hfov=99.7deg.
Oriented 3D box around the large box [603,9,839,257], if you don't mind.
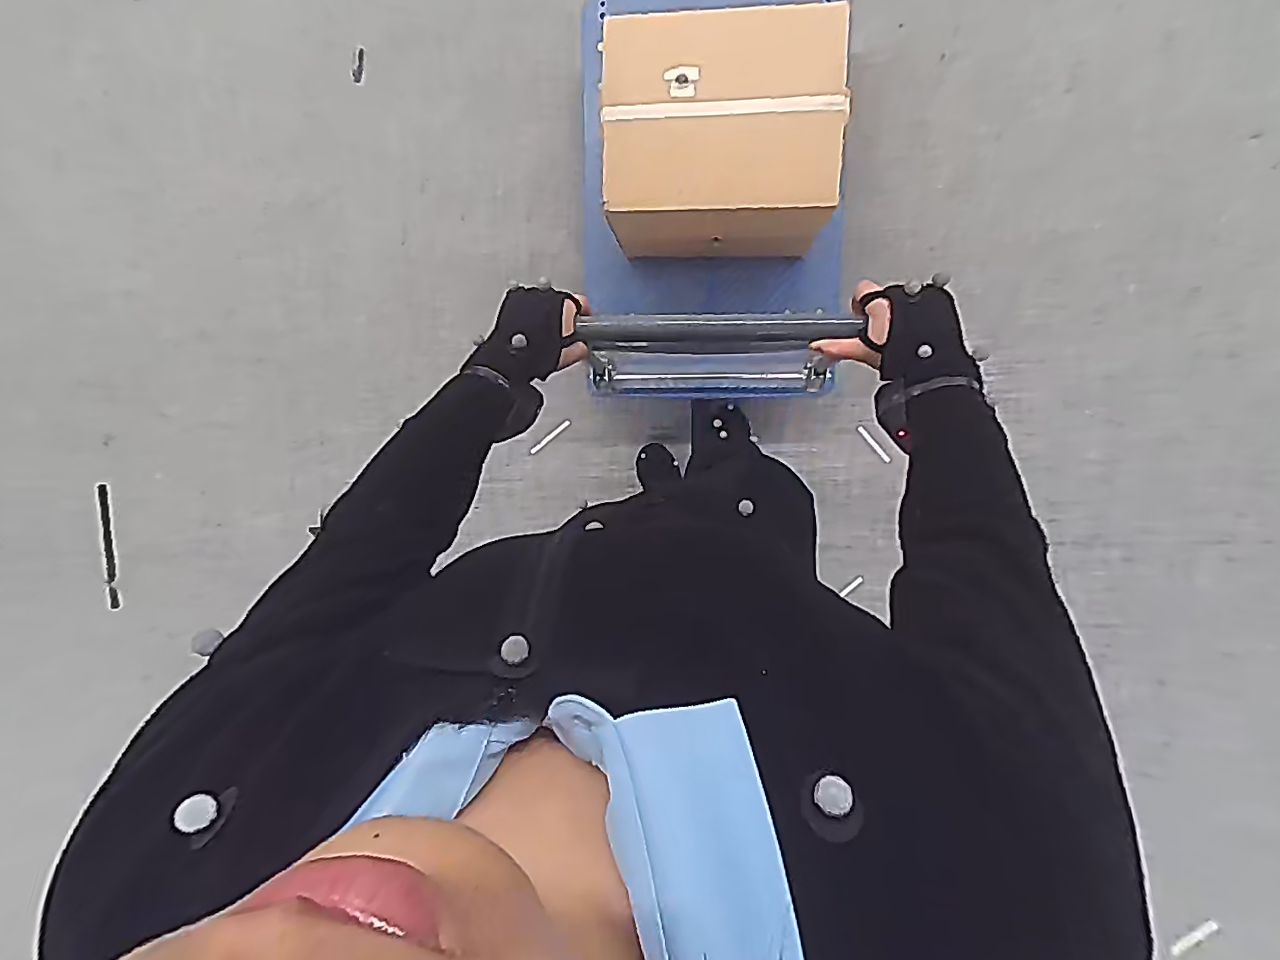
[{"bbox_3d":[0.153,-0.647,1.079,0.408,0.320,0.320,1,97,7],"label":"large box"}]
